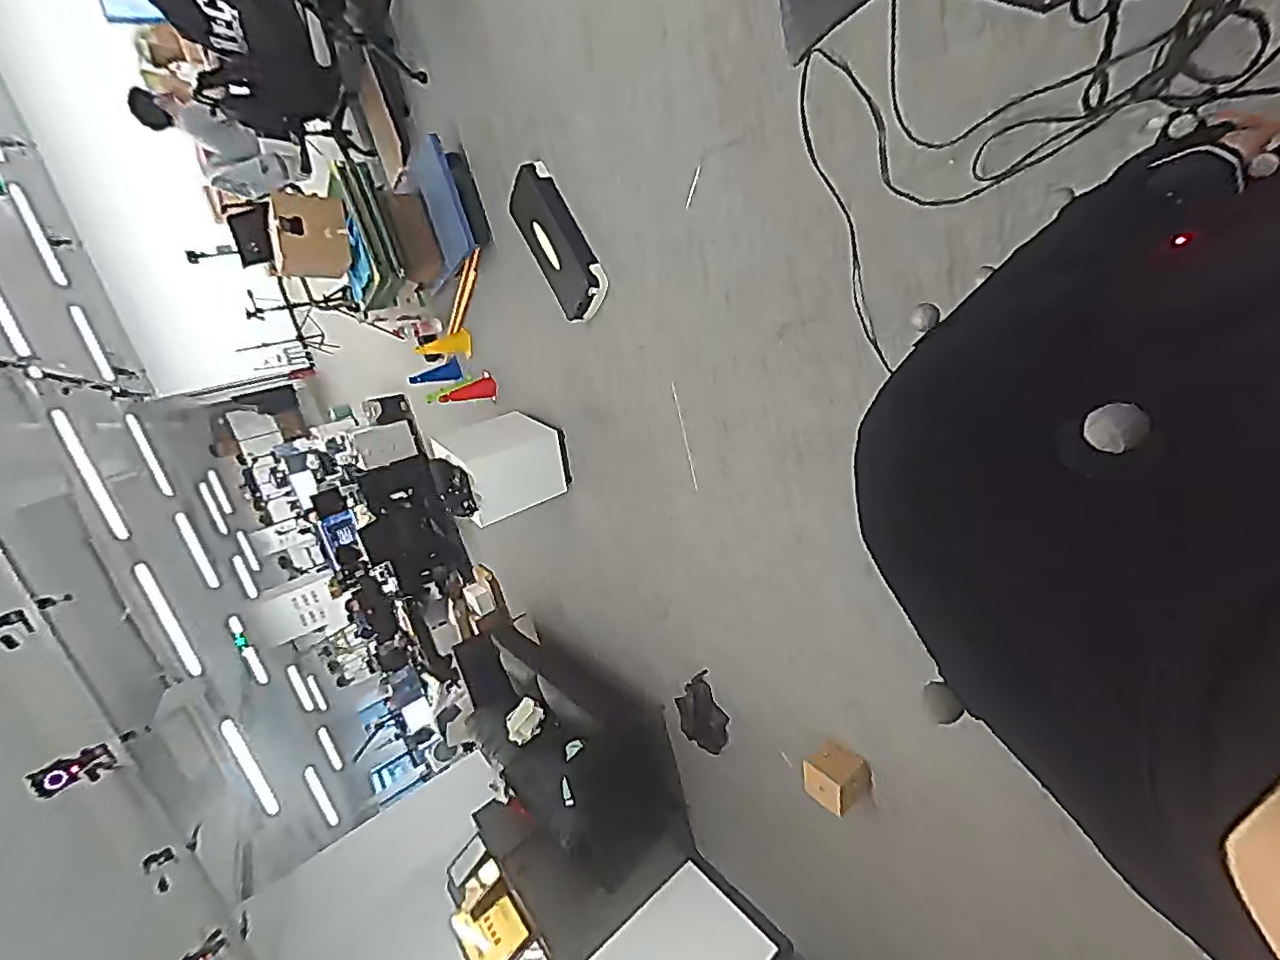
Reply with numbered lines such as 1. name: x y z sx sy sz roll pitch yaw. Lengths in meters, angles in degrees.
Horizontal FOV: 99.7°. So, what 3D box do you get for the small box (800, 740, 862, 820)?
1. small box: 0.751 1.166 2.118 0.168 0.176 0.179 19 126 51
